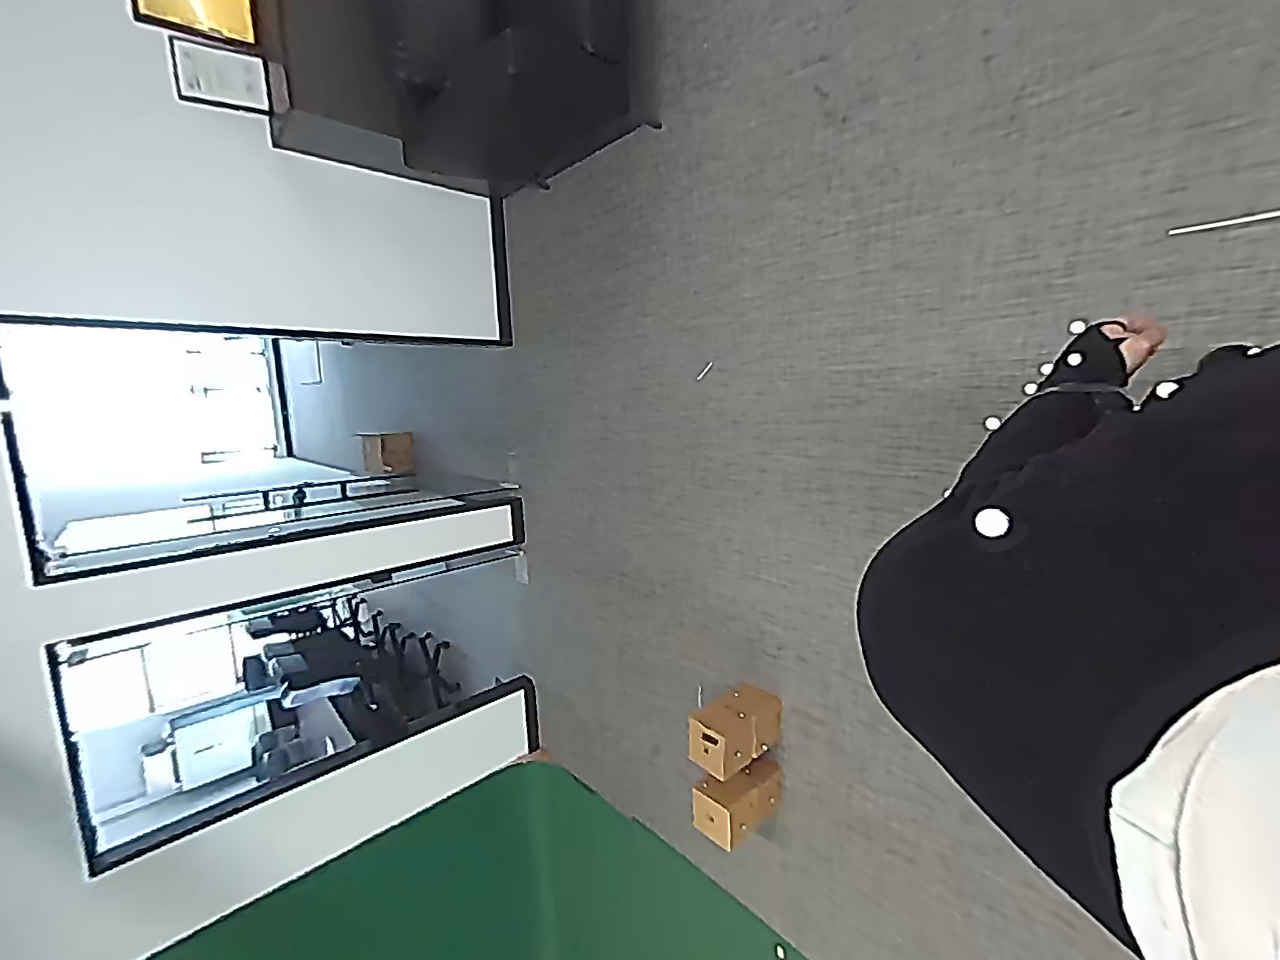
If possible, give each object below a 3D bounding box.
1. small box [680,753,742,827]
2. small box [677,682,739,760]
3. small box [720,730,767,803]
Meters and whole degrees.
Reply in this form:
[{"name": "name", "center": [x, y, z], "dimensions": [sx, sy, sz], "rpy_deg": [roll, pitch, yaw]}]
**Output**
[{"name": "small box", "center": [0.274, 1.154, 2.051], "dimensions": [0.179, 0.176, 0.168], "rpy_deg": [8, 105, 46]}, {"name": "small box", "center": [0.254, 0.887, 2.012], "dimensions": [0.168, 0.176, 0.179], "rpy_deg": [13, 109, 46]}, {"name": "small box", "center": [0.391, 1.133, 2.161], "dimensions": [0.179, 0.176, 0.168], "rpy_deg": [12, 106, 45]}]
